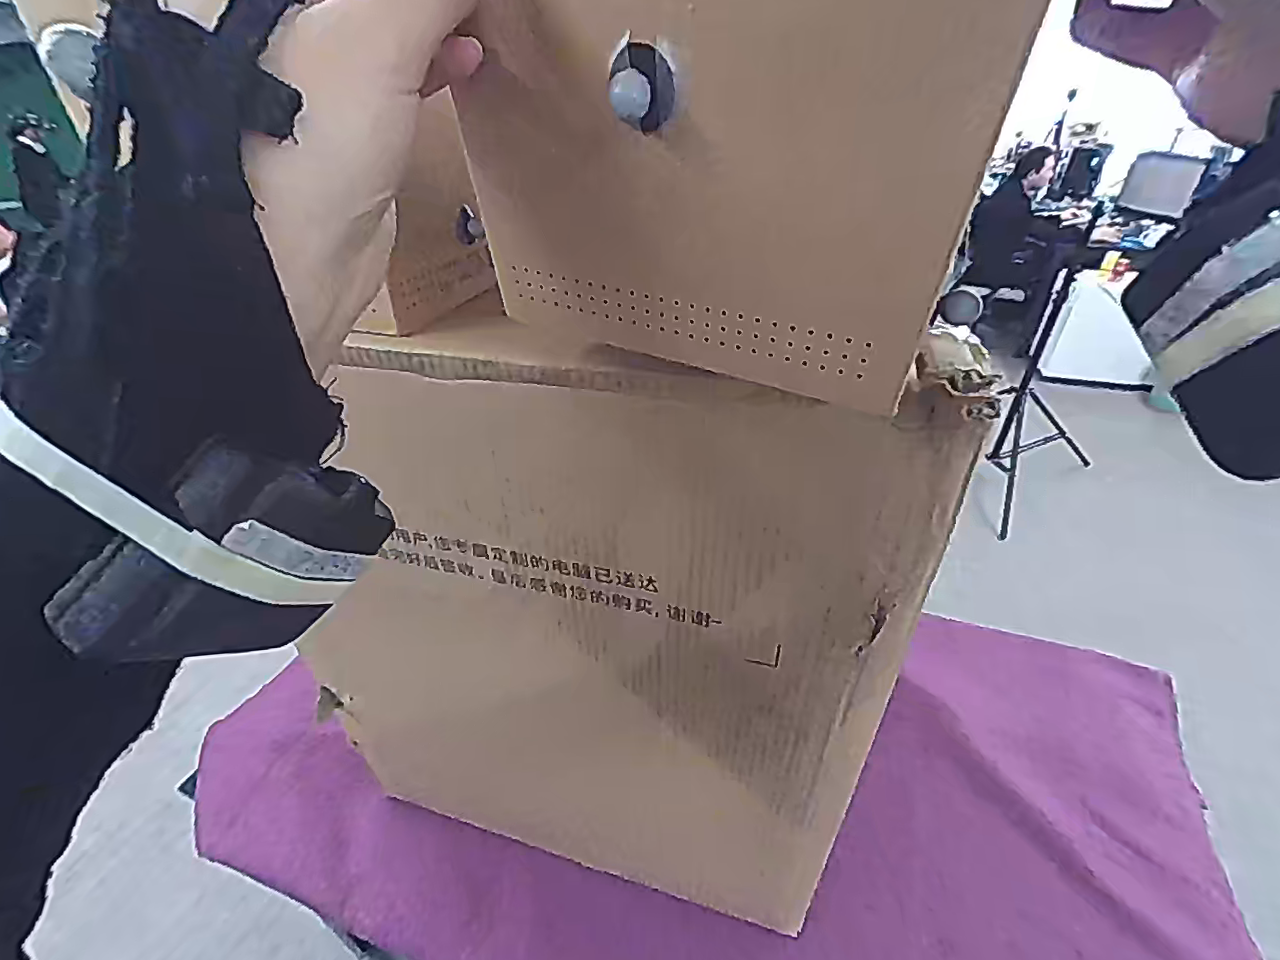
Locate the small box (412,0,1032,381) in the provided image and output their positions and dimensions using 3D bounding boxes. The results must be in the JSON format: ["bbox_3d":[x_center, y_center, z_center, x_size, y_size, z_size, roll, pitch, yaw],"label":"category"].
[{"bbox_3d":[0.043,-0.160,0.207,0.179,0.176,0.168,18,50,22],"label":"small box"}]
